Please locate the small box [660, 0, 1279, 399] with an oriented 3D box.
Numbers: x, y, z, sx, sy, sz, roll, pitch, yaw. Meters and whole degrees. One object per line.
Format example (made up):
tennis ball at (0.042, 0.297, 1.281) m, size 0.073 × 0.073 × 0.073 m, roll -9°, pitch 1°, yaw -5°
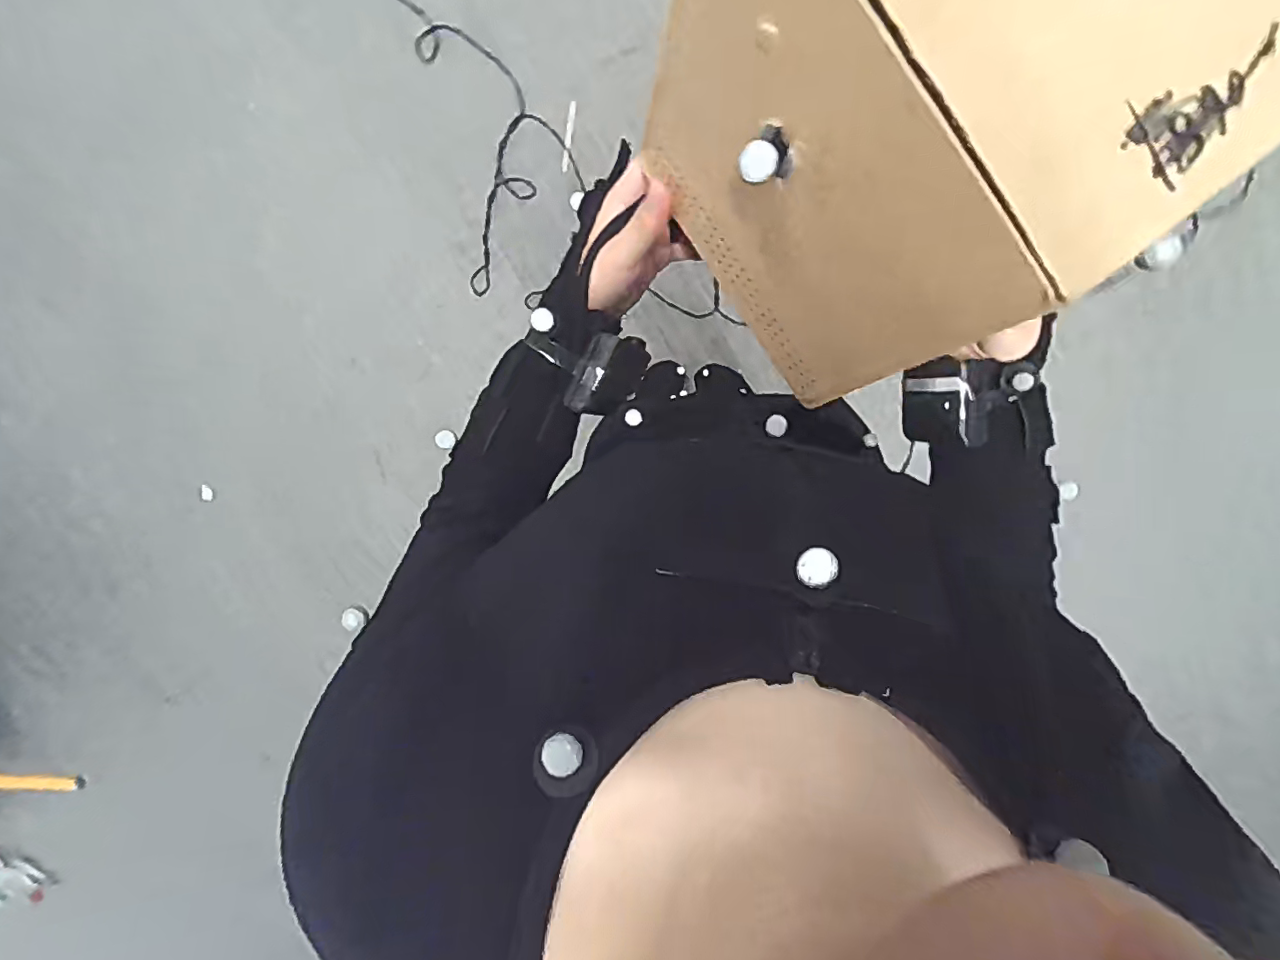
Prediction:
small box at (0.127, -0.162, 0.248) m, size 0.168 × 0.176 × 0.179 m, roll -36°, pitch 91°, yaw -7°
